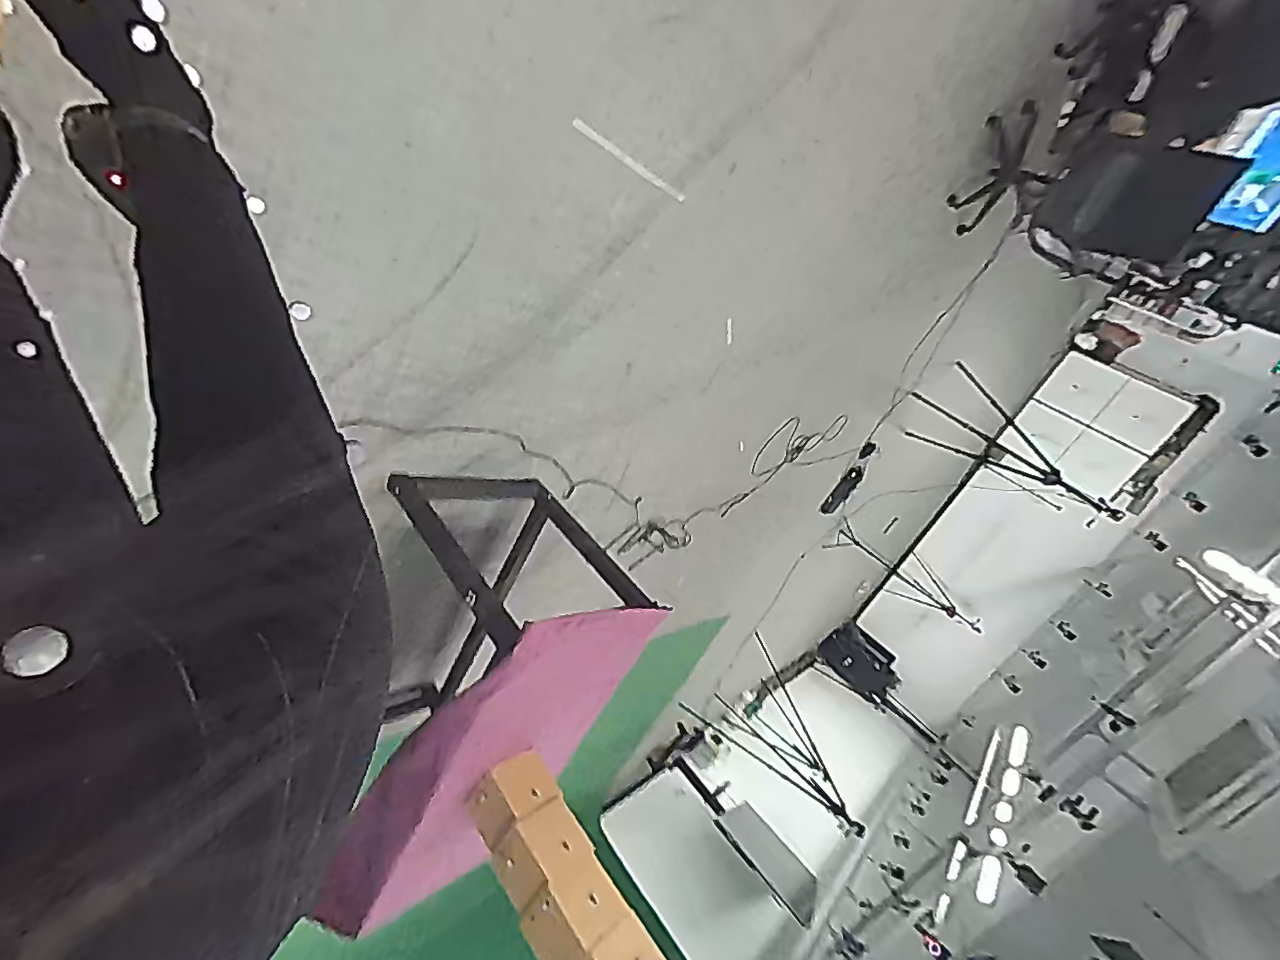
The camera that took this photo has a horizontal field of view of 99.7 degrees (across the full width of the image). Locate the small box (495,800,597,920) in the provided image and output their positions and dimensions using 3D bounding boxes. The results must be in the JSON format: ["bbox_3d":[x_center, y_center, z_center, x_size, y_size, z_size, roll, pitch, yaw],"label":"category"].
[{"bbox_3d":[-0.255,1.013,1.460,0.179,0.176,0.168,6,118,-53],"label":"small box"}]

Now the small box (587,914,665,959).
[{"bbox_3d":[-0.047,1.198,1.287,0.179,0.176,0.168,8,117,-55],"label":"small box"}]

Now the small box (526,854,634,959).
[{"bbox_3d":[-0.156,1.107,1.369,0.179,0.176,0.168,6,119,-54],"label":"small box"}]

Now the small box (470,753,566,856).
[{"bbox_3d":[-0.353,0.926,1.559,0.179,0.176,0.168,9,117,-54],"label":"small box"}]
